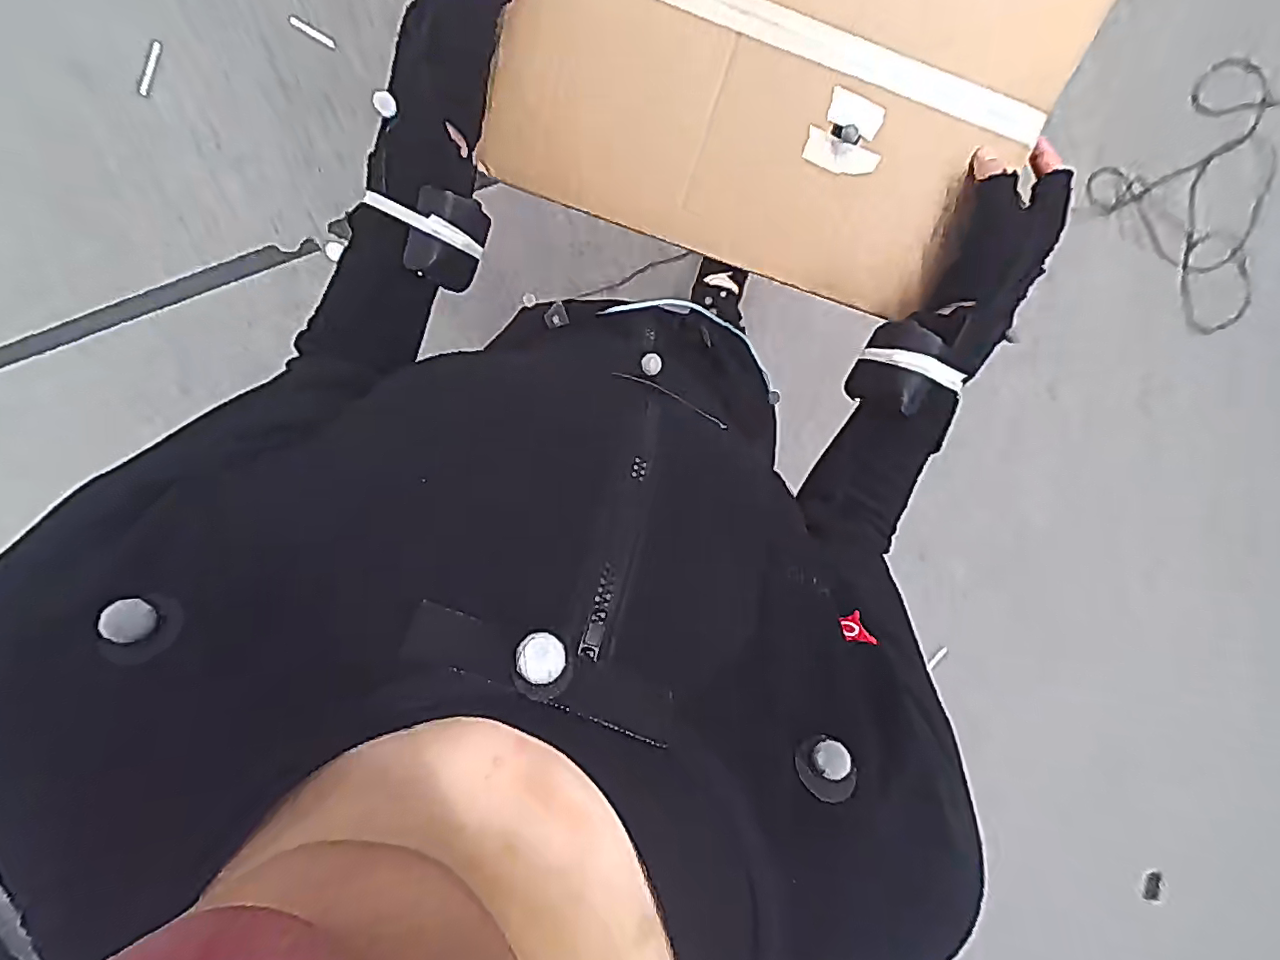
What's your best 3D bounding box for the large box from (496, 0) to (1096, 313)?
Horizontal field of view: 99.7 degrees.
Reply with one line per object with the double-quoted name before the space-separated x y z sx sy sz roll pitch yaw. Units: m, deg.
"large box" 0.114 -0.401 0.530 0.408 0.320 0.320 17 119 -7
